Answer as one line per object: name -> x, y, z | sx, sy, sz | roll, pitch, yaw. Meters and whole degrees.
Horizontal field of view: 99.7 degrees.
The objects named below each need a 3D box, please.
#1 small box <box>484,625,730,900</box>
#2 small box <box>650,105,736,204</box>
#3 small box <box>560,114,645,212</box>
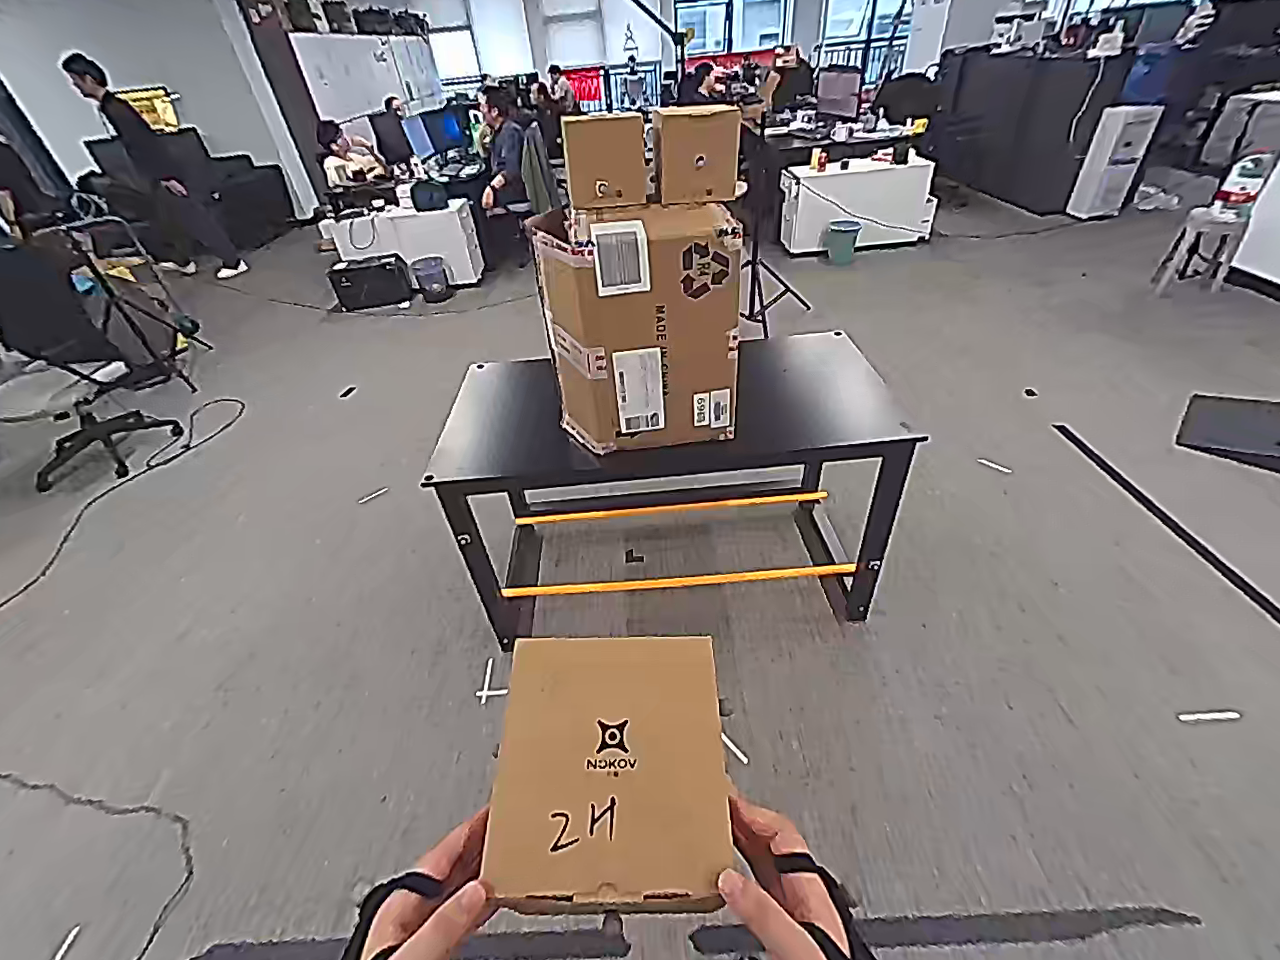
small box -> -0.021, 0.244, 0.467 | 0.168, 0.176, 0.179 | -1, 48, 1
small box -> 0.114, -0.722, 1.206 | 0.168, 0.176, 0.179 | -5, 39, -3
small box -> -0.085, -0.710, 1.212 | 0.168, 0.176, 0.179 | -9, 37, -5
